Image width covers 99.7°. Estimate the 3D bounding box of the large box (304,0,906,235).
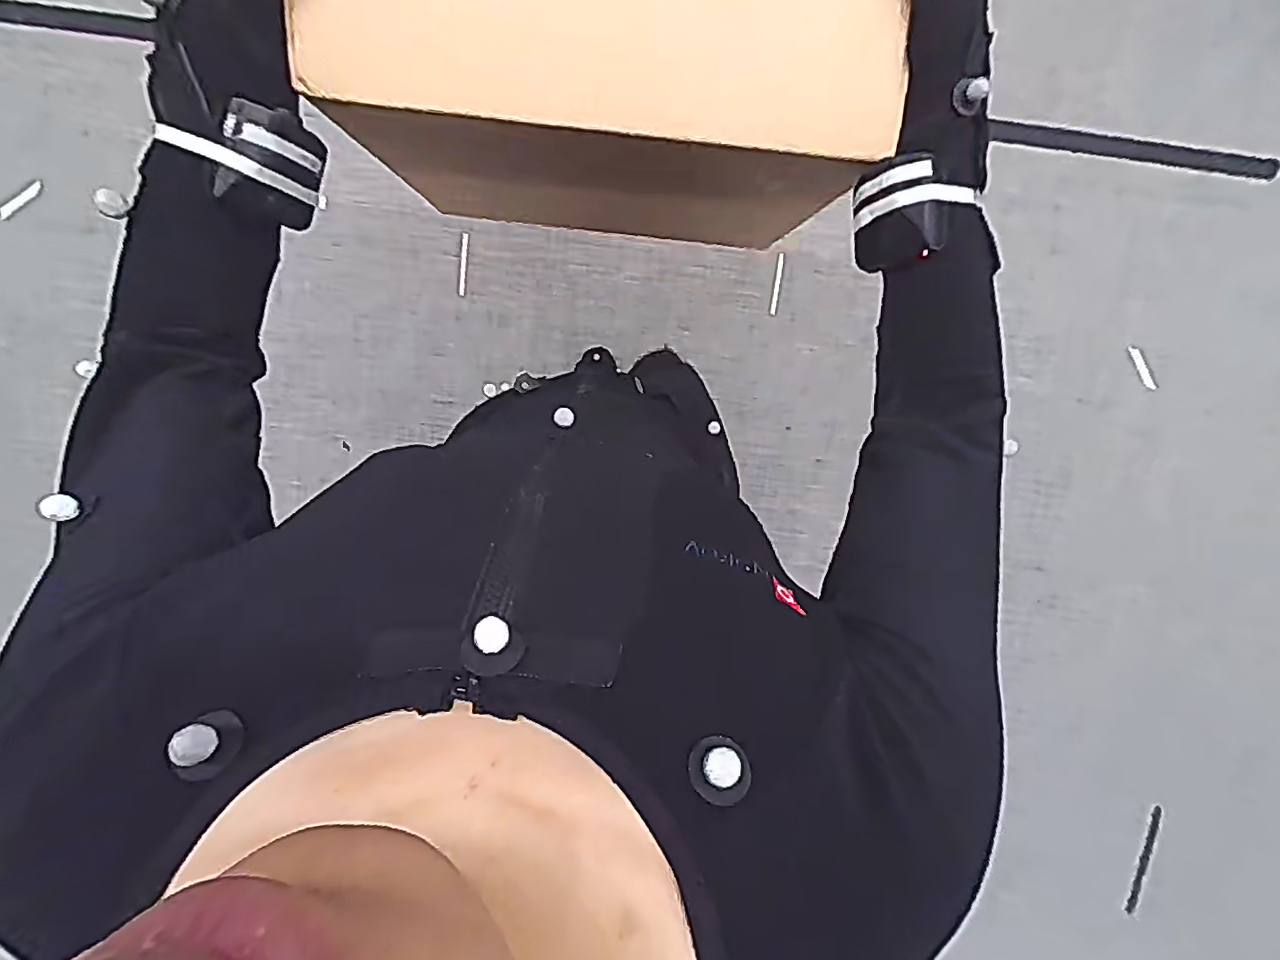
[{"bbox_3d":[-0.021,-0.431,0.484,0.408,0.320,0.320,4,103,-4],"label":"large box"}]
